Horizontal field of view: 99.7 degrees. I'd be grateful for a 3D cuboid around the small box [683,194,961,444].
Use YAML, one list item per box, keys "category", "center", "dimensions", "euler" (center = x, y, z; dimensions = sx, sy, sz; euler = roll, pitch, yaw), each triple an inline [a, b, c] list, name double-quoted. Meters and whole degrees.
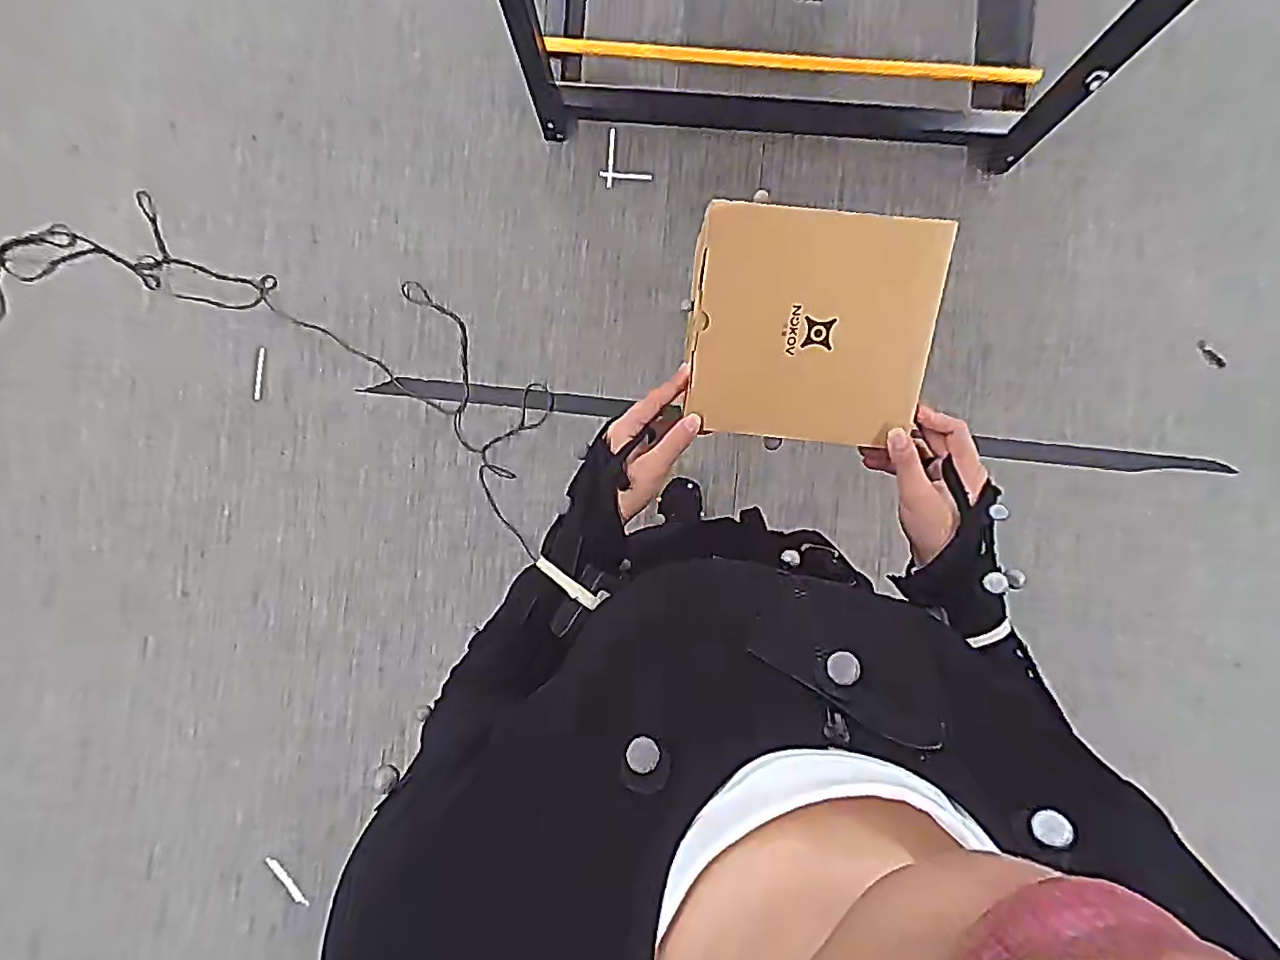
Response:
- category: "small box"
  center: [0.133, -0.136, 0.473]
  dimensions: [0.179, 0.176, 0.168]
  euler: [6, 106, 3]
